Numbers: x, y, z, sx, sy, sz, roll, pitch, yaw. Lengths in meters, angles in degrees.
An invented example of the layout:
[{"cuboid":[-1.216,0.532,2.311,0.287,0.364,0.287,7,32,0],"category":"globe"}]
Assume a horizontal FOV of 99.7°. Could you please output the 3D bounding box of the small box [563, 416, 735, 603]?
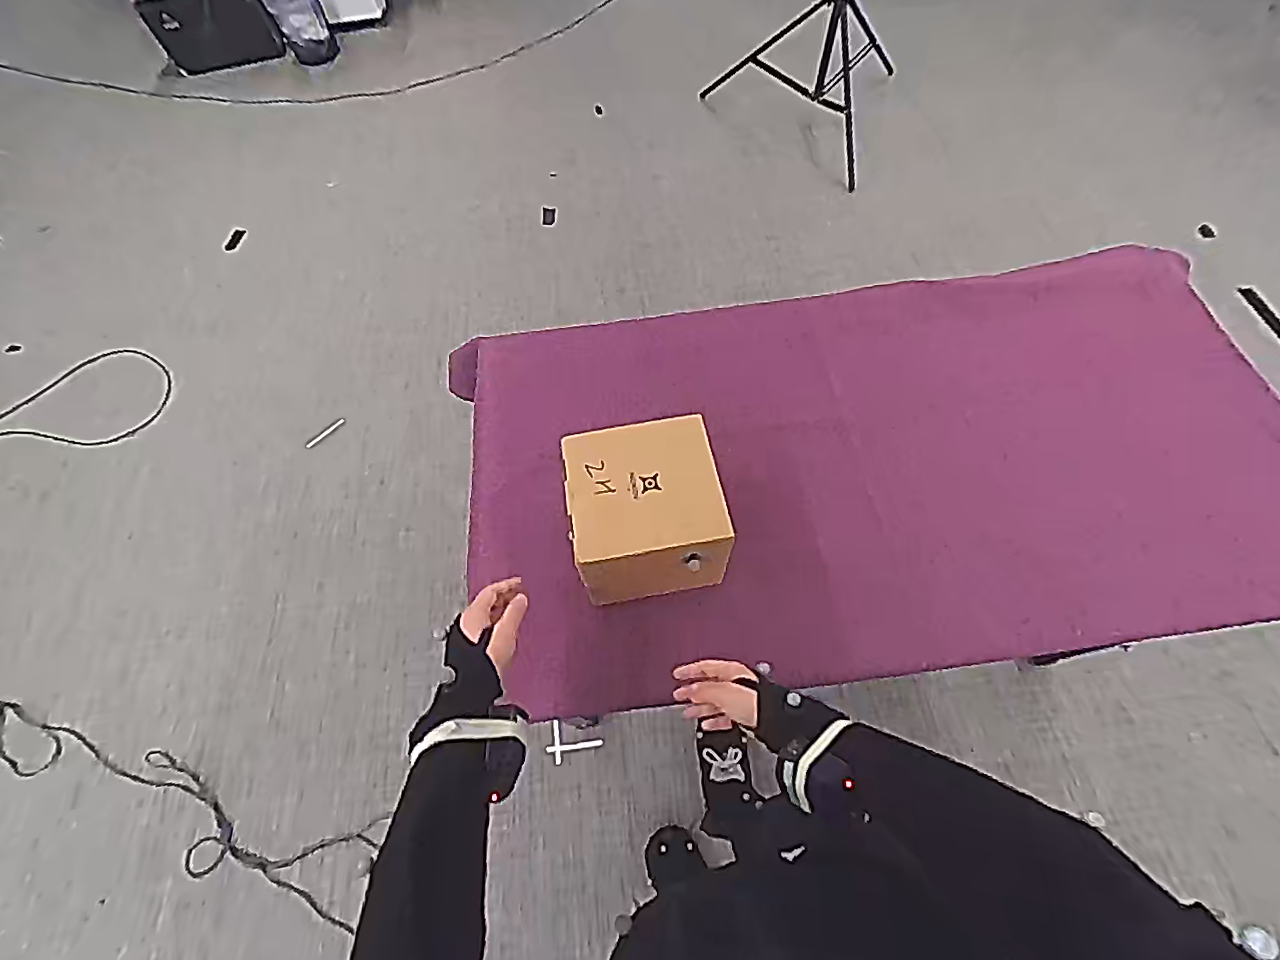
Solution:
[{"cuboid":[0.008,0.044,0.684,0.179,0.176,0.168,-10,61,-2],"category":"small box"}]
